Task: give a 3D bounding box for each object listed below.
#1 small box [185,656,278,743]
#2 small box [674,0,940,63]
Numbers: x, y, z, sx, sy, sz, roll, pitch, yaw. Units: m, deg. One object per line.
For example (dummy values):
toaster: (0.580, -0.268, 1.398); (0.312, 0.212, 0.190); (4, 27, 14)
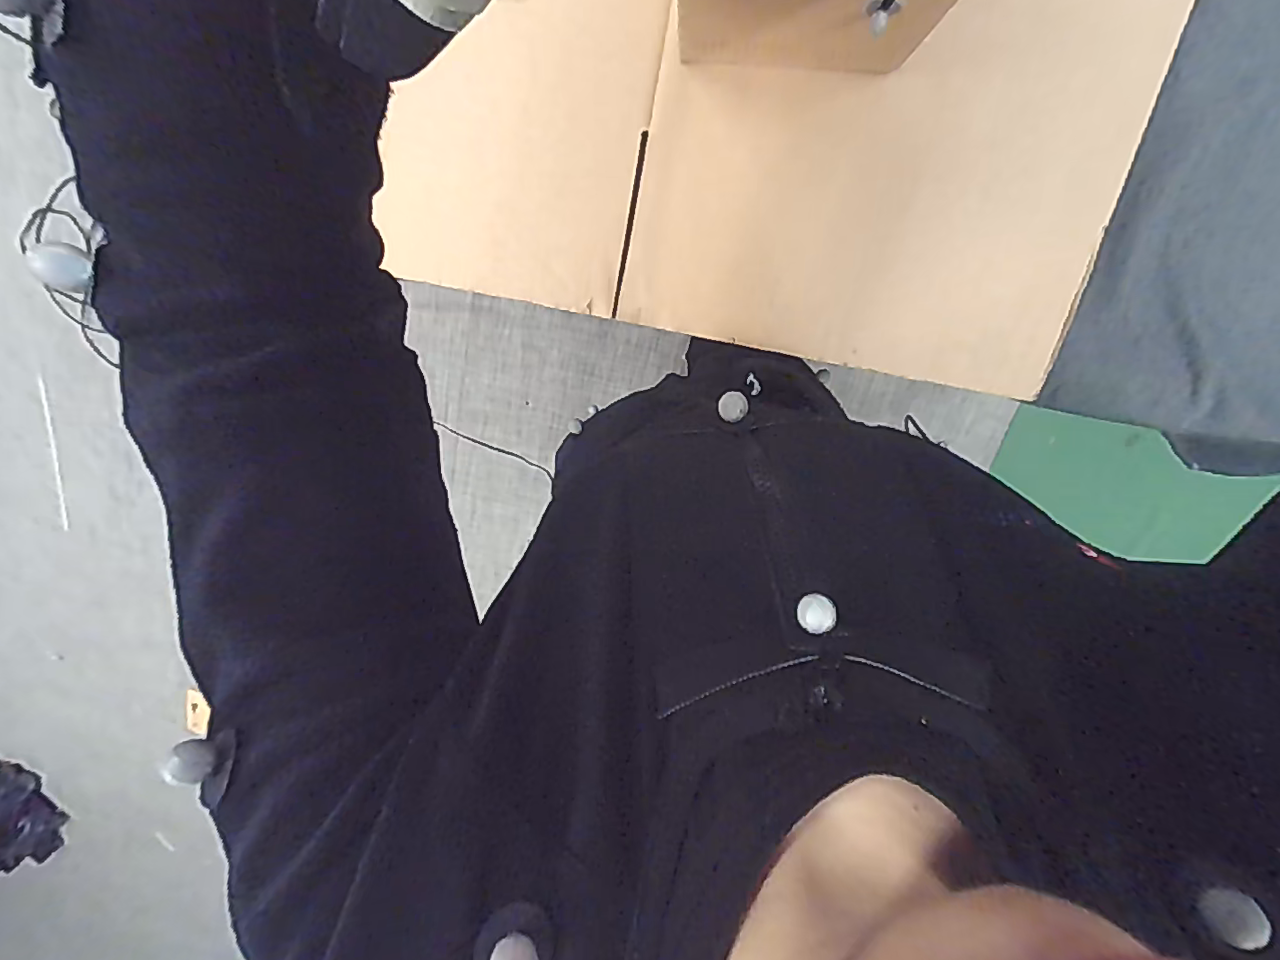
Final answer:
small box: (-1.277, 0.683, 1.701); (0.179, 0.176, 0.168); (17, 109, -1)
small box: (0.114, -0.385, 0.326); (0.179, 0.176, 0.168); (4, 105, 3)
